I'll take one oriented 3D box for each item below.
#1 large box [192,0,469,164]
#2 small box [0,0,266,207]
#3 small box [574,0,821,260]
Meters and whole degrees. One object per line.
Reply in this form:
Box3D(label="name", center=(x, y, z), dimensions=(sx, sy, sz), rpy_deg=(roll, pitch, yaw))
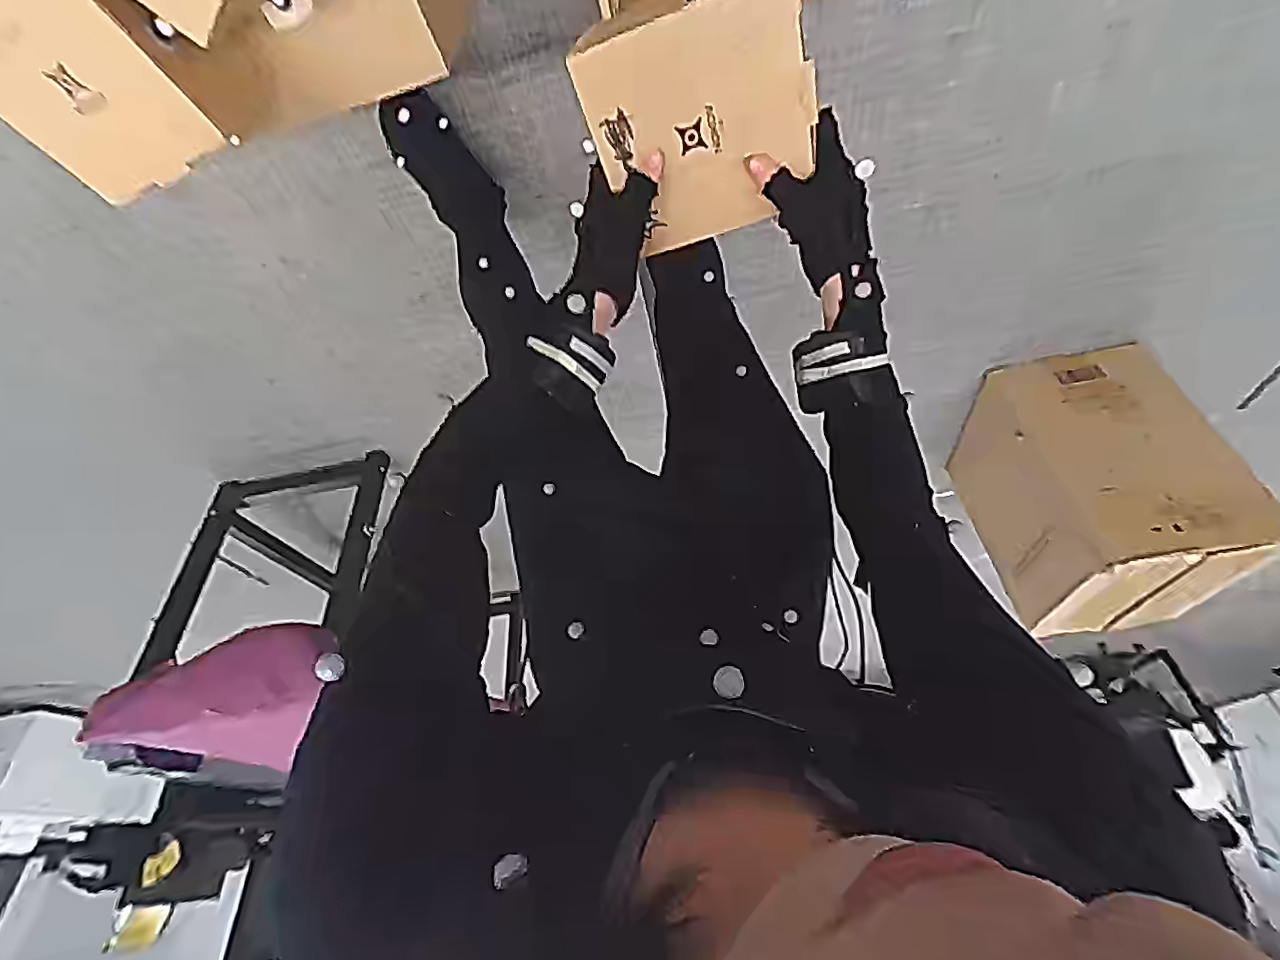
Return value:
Box3D(label="large box", center=(-0.463, -0.650, 0.631), dimensions=(0.408, 0.320, 0.320), rpy_deg=(-13, 145, 9))
Box3D(label="small box", center=(-0.519, -0.418, 0.530), dimensions=(0.168, 0.176, 0.179), rpy_deg=(-18, 142, 15))
Box3D(label="small box", center=(0.056, -0.338, 0.503), dimensions=(0.179, 0.176, 0.168), rpy_deg=(-12, 130, 14))
